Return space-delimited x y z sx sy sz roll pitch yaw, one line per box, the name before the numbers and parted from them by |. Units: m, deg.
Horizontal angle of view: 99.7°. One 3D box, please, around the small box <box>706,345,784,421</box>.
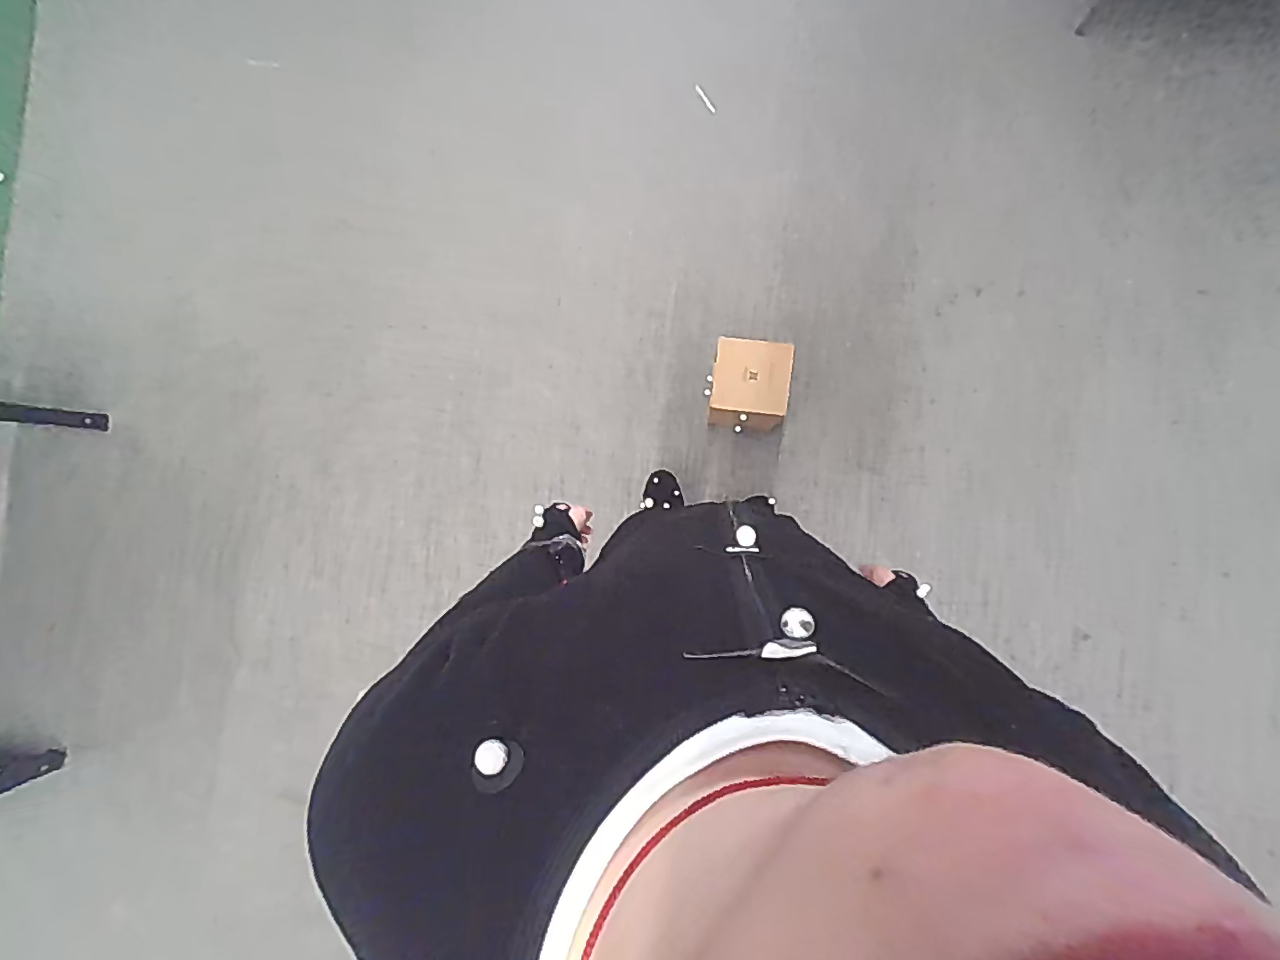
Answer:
small box | 0.279 -0.258 1.473 0.179 0.176 0.168 9 91 6
